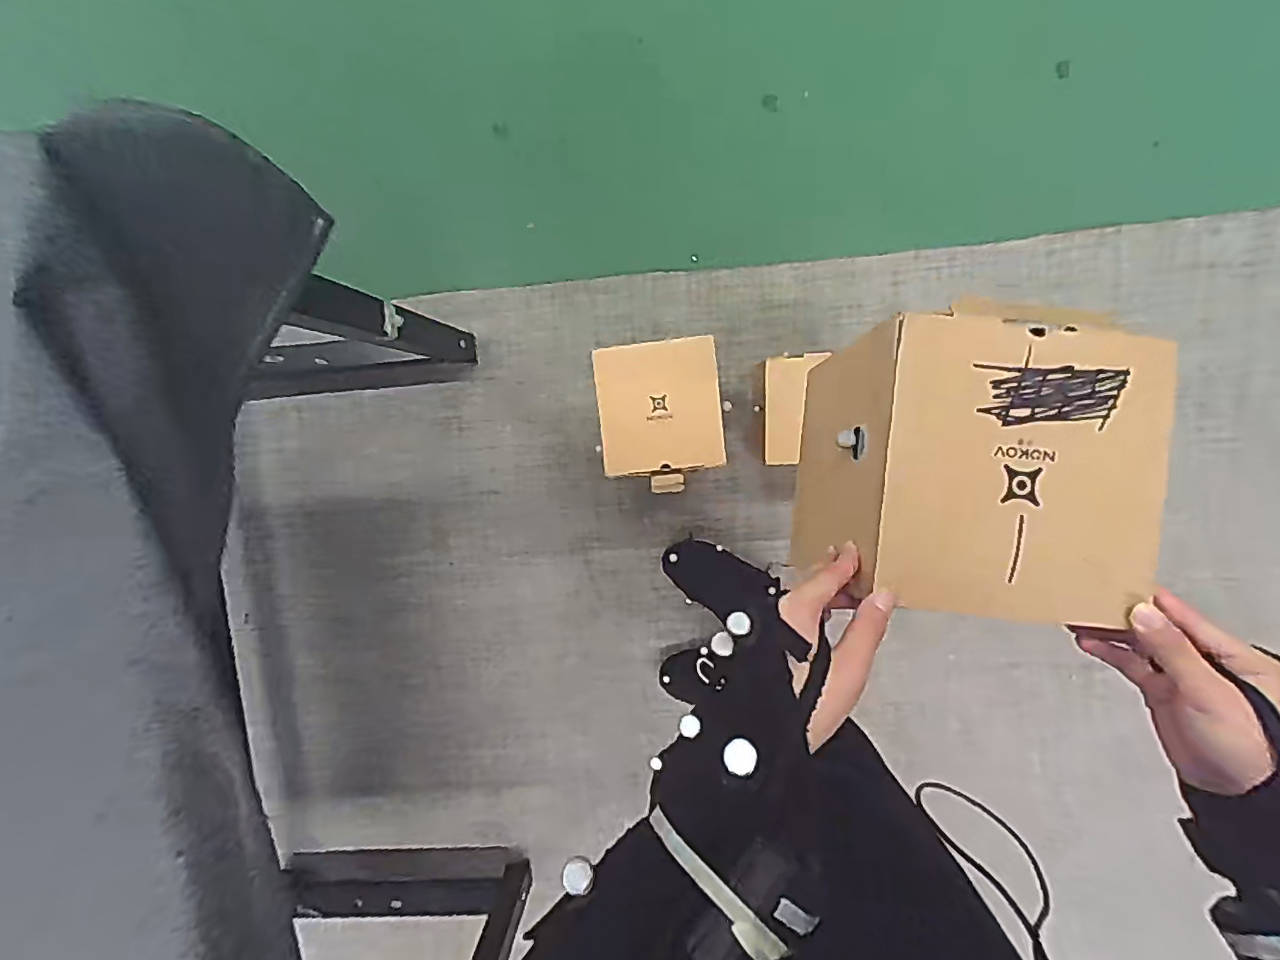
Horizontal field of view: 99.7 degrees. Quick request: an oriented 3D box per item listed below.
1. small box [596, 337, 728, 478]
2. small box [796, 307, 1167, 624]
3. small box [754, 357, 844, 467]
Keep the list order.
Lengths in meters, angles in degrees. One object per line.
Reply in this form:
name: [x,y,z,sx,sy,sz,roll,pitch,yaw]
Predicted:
small box: [0.034,-0.103,0.803,0.168,0.176,0.179,-6,96,5]
small box: [0.225,-0.007,0.400,0.168,0.176,0.179,6,89,0]
small box: [0.293,-0.118,0.949,0.168,0.176,0.179,-2,98,5]
